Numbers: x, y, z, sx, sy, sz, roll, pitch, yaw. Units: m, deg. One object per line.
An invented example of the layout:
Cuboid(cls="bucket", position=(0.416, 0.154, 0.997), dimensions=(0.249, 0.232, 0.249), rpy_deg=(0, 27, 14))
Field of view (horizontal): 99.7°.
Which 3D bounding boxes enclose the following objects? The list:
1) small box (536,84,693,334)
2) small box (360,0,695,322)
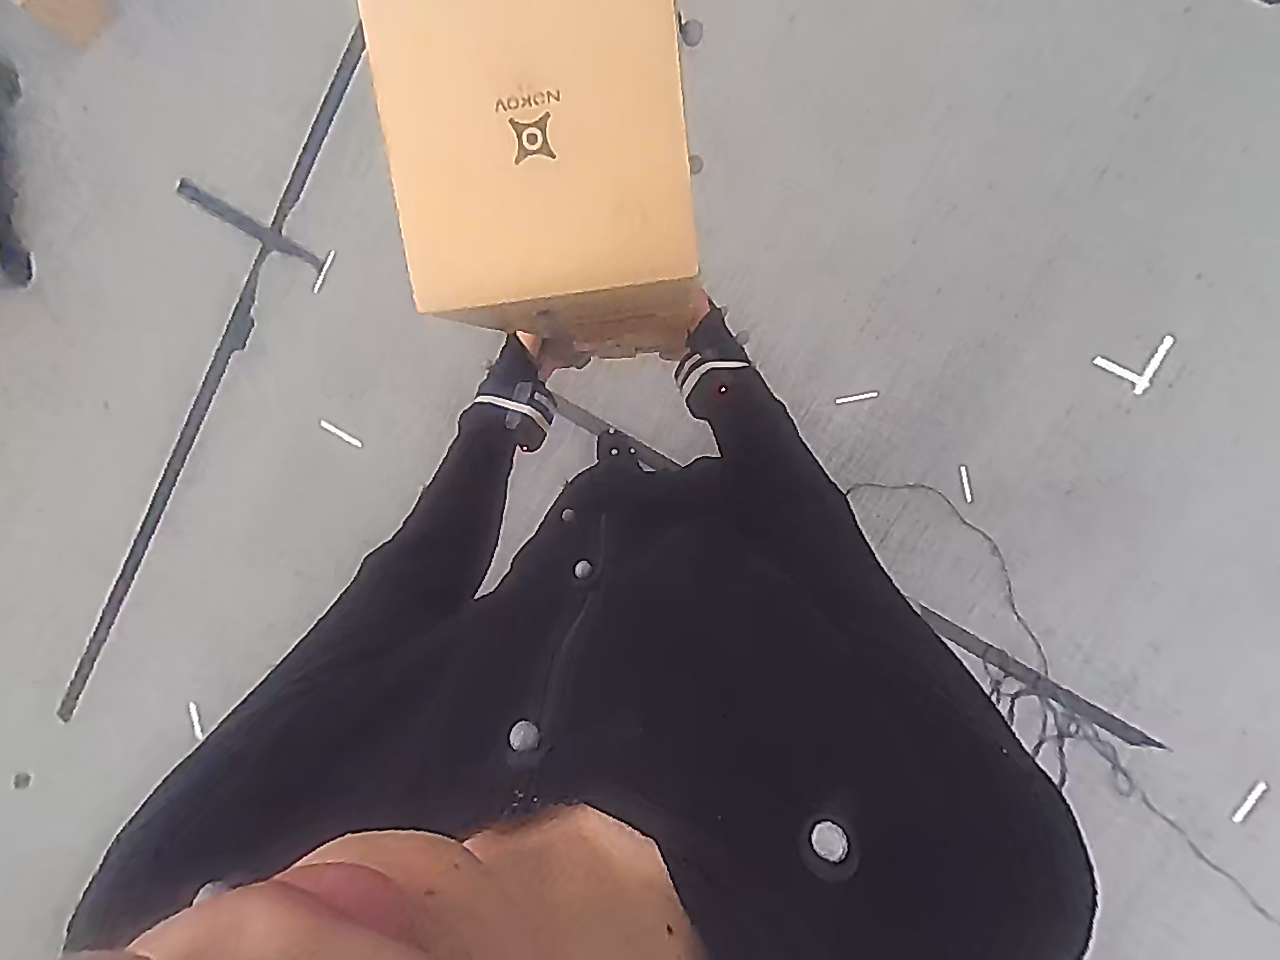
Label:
Cuboid(cls="small box", position=(-0.036, -0.241, 0.522), dimensions=(0.168, 0.176, 0.179), rpy_deg=(-2, 102, 5))
Cuboid(cls="small box", position=(-0.050, -0.205, 0.363), dimensions=(0.168, 0.176, 0.179), rpy_deg=(-5, 100, 5))
